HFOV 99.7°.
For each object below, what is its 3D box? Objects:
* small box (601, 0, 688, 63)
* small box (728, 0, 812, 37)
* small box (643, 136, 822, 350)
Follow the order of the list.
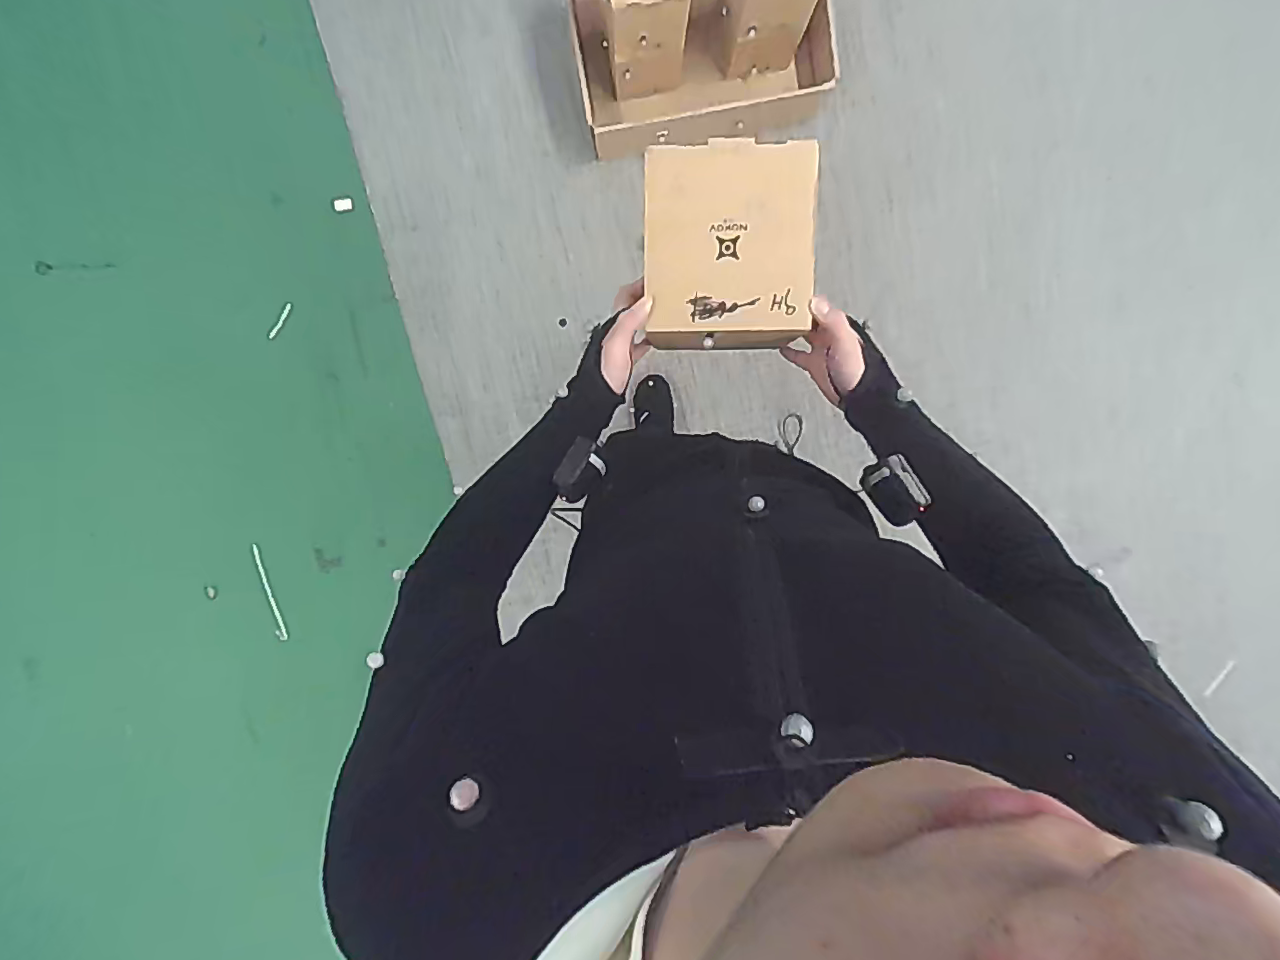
[{"bbox_3d":[0.002,-1.051,1.163,0.168,0.176,0.179,-9,97,0],"label":"small box"},{"bbox_3d":[0.282,-1.095,1.159,0.168,0.176,0.179,-8,97,2],"label":"small box"},{"bbox_3d":[0.091,-0.243,0.593,0.168,0.176,0.179,1,98,4],"label":"small box"}]
